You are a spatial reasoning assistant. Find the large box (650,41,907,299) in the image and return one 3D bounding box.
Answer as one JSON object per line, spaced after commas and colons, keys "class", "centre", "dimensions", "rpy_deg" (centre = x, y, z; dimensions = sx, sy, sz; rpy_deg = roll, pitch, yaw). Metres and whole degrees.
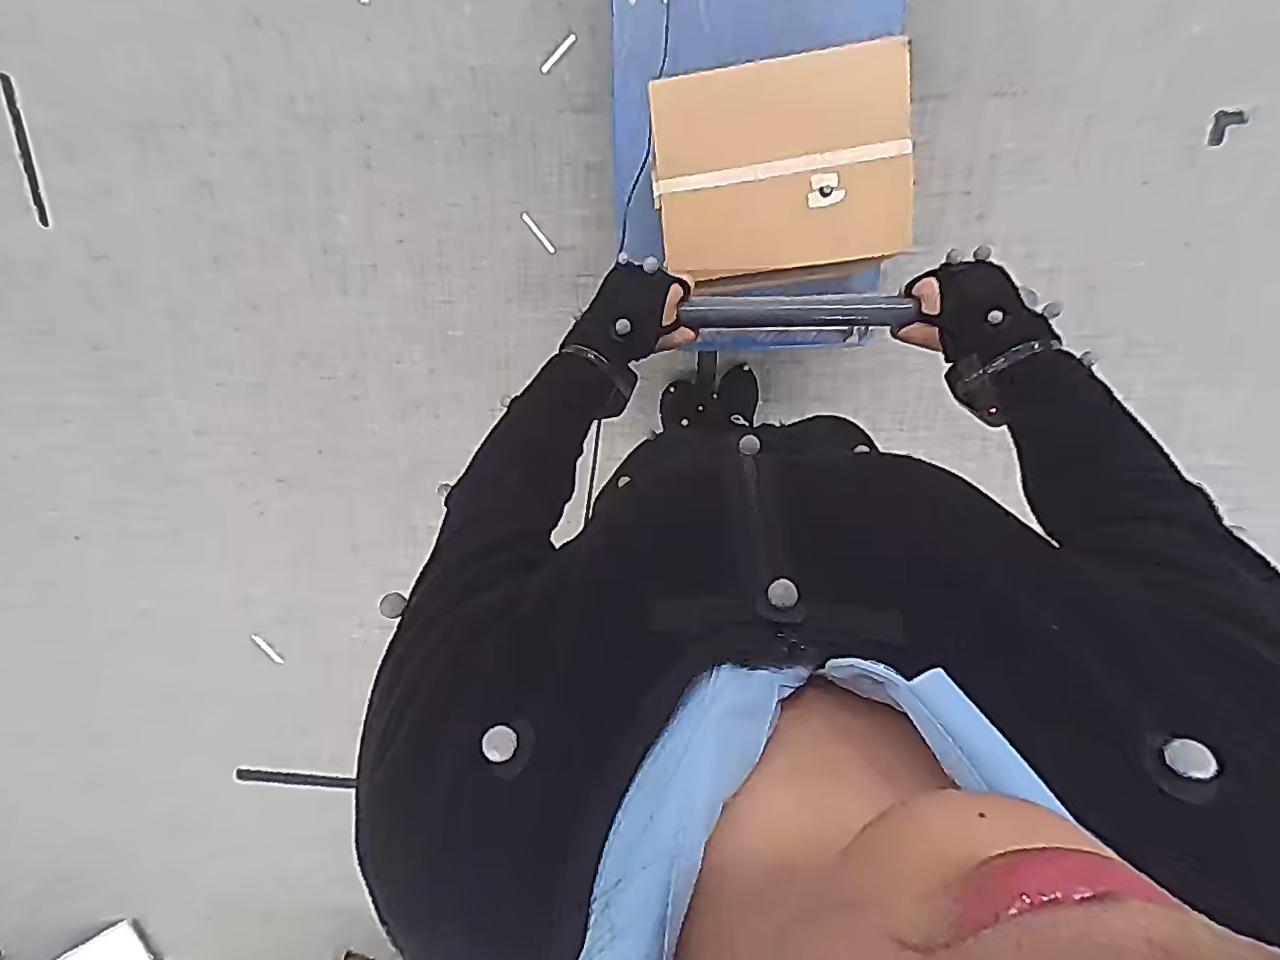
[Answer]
{"class": "large box", "centre": [0.242, -0.548, 1.039], "dimensions": [0.408, 0.320, 0.320], "rpy_deg": [-6, 104, 6]}
